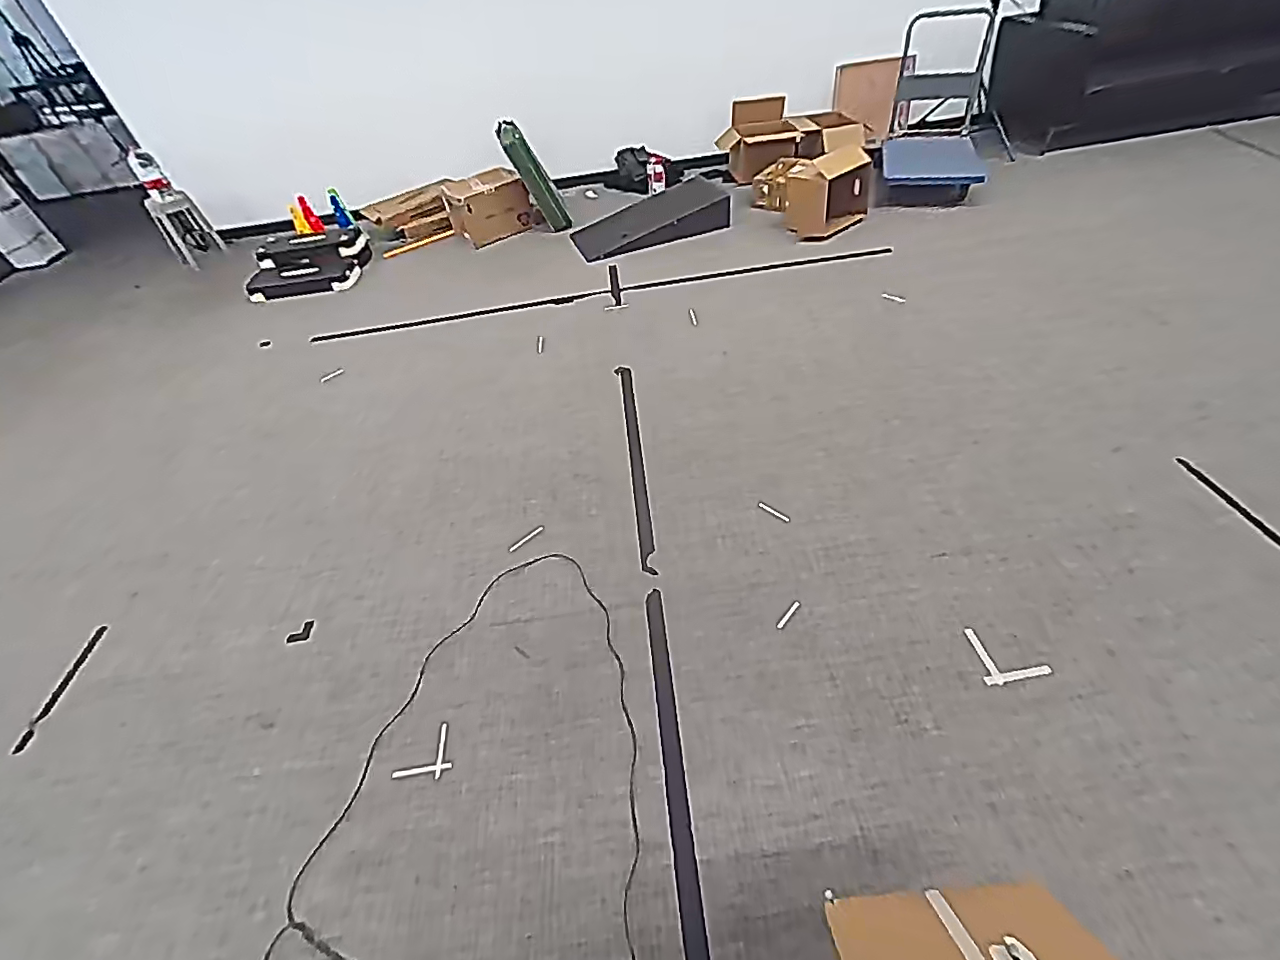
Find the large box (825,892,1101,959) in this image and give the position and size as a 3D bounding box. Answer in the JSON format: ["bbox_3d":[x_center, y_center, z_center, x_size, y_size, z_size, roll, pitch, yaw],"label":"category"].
[{"bbox_3d":[0.432,0.750,0.585,0.320,0.408,0.320,-7,83,4],"label":"large box"}]
